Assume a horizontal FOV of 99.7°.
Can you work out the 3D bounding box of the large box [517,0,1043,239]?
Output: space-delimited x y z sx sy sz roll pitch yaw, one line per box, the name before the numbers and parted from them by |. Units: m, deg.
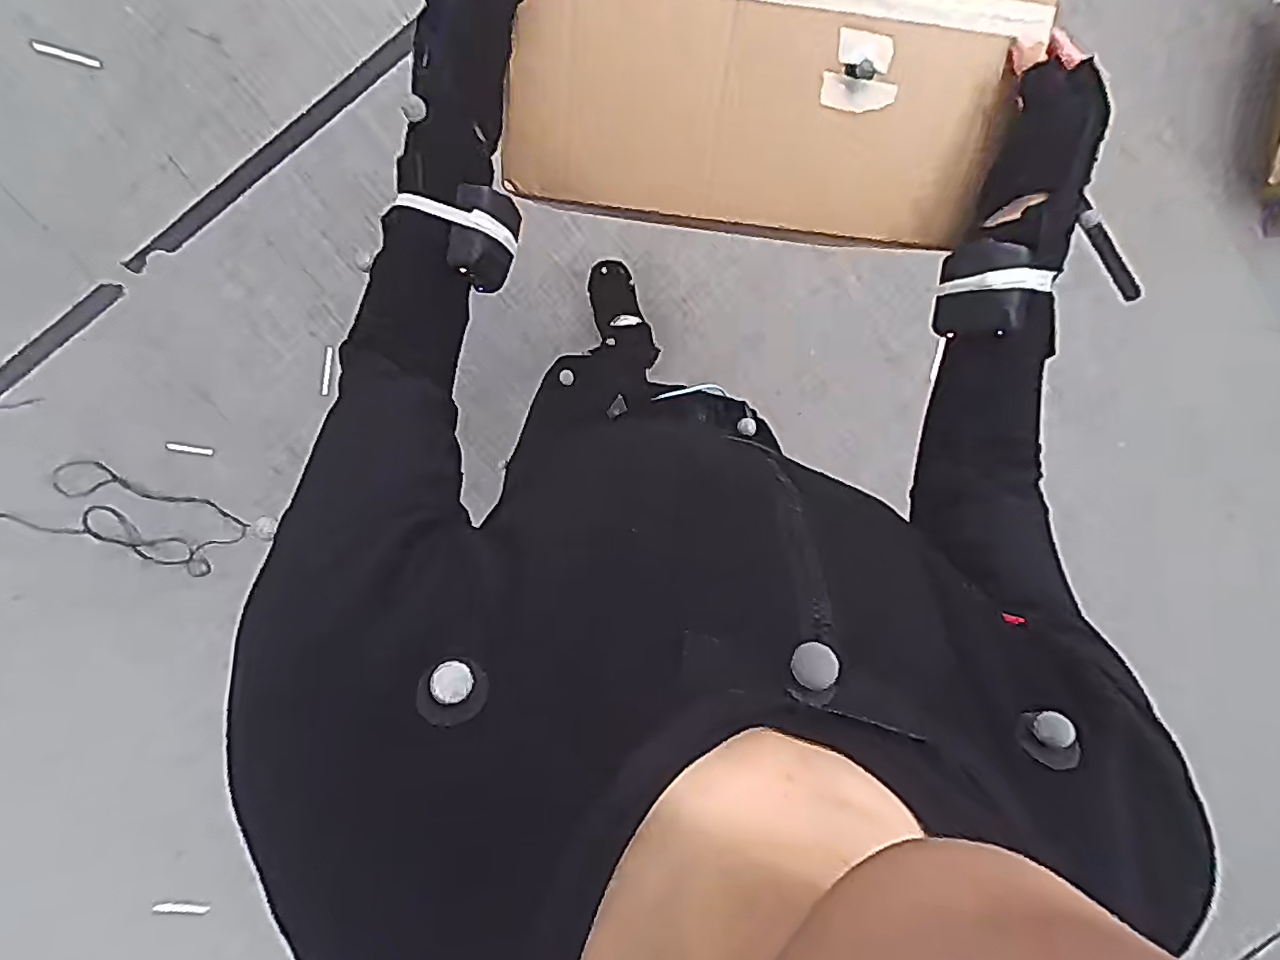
large box | 0.101 -0.429 0.539 0.408 0.320 0.320 5 115 -5
